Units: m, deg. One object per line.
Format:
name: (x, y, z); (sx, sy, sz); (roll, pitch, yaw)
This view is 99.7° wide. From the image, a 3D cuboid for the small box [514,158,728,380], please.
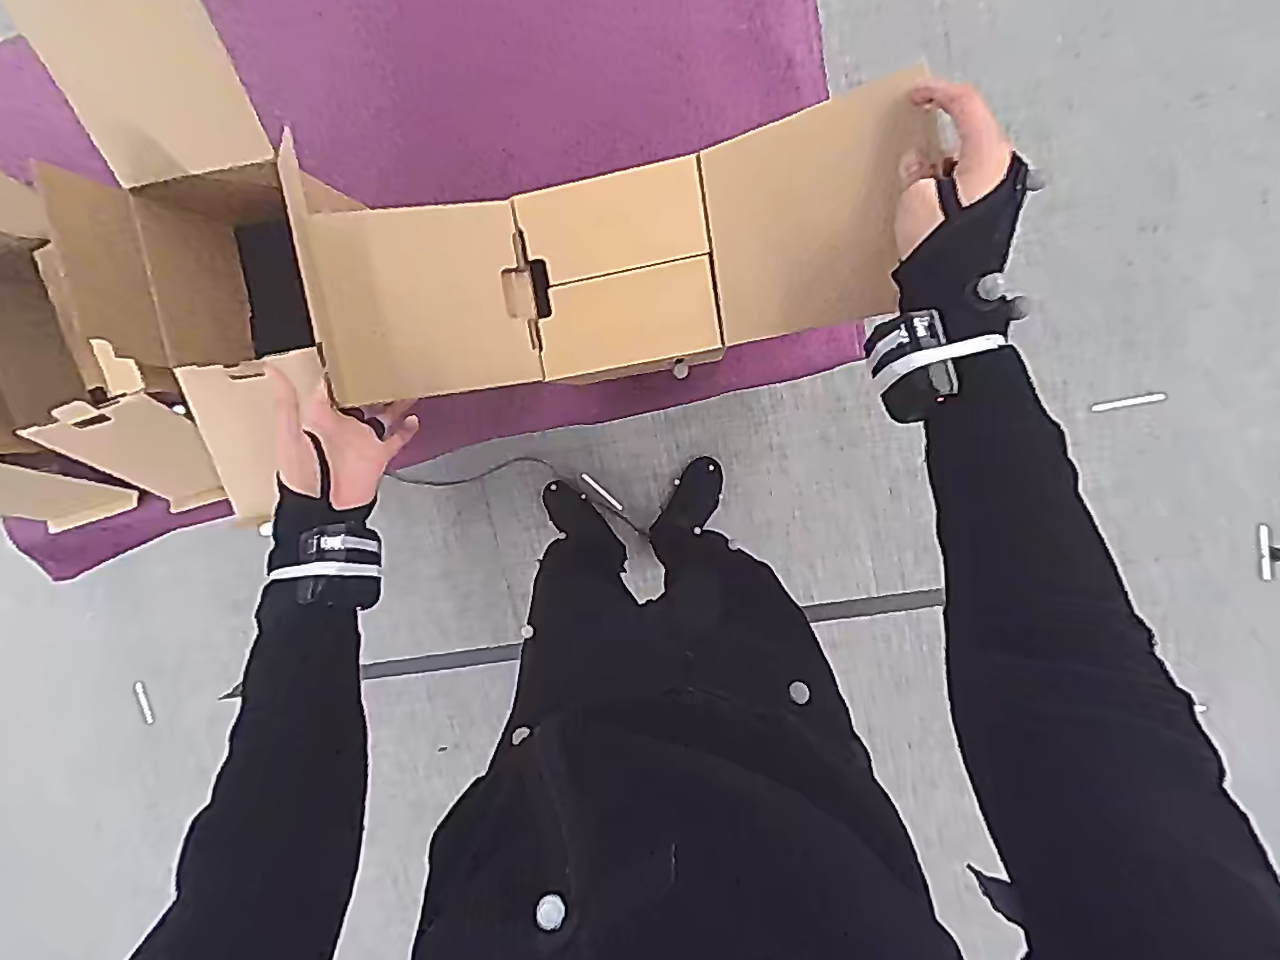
small box: (-0.009, -0.198, 0.559); (0.179, 0.176, 0.168); (-7, 97, 8)
